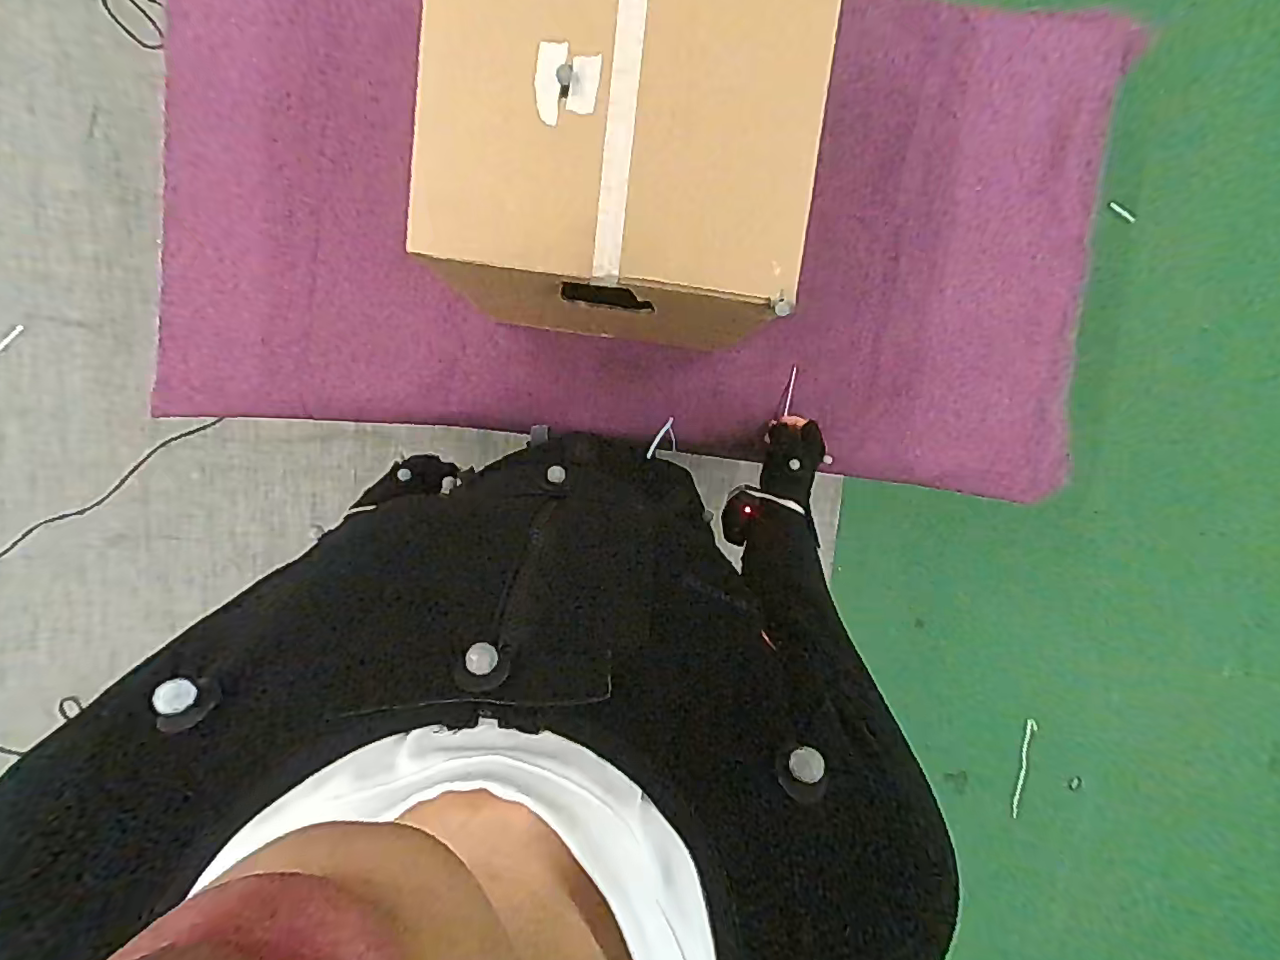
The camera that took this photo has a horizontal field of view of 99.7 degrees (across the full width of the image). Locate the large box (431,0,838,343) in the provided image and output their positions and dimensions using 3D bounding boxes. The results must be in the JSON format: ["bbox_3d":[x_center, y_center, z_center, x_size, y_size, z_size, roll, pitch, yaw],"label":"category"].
[{"bbox_3d":[-0.006,-0.383,0.573,0.320,0.320,0.408,7,97,-3],"label":"large box"}]
